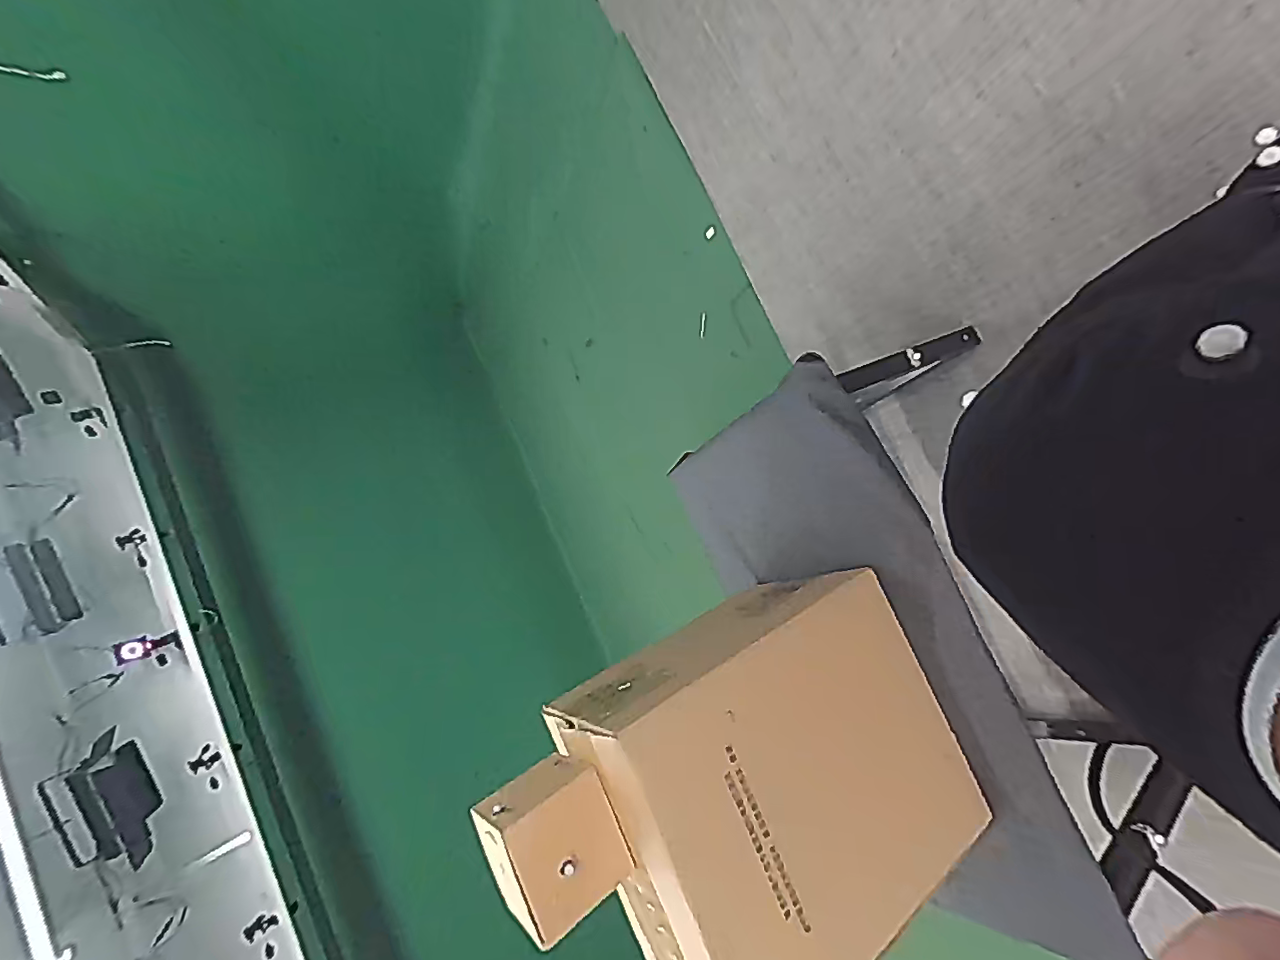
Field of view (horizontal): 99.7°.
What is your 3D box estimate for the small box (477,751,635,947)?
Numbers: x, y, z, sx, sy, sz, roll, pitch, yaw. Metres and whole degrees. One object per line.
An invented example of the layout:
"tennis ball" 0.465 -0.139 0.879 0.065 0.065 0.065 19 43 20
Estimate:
"small box" -0.135 0.576 0.874 0.168 0.176 0.179 -30 83 54
